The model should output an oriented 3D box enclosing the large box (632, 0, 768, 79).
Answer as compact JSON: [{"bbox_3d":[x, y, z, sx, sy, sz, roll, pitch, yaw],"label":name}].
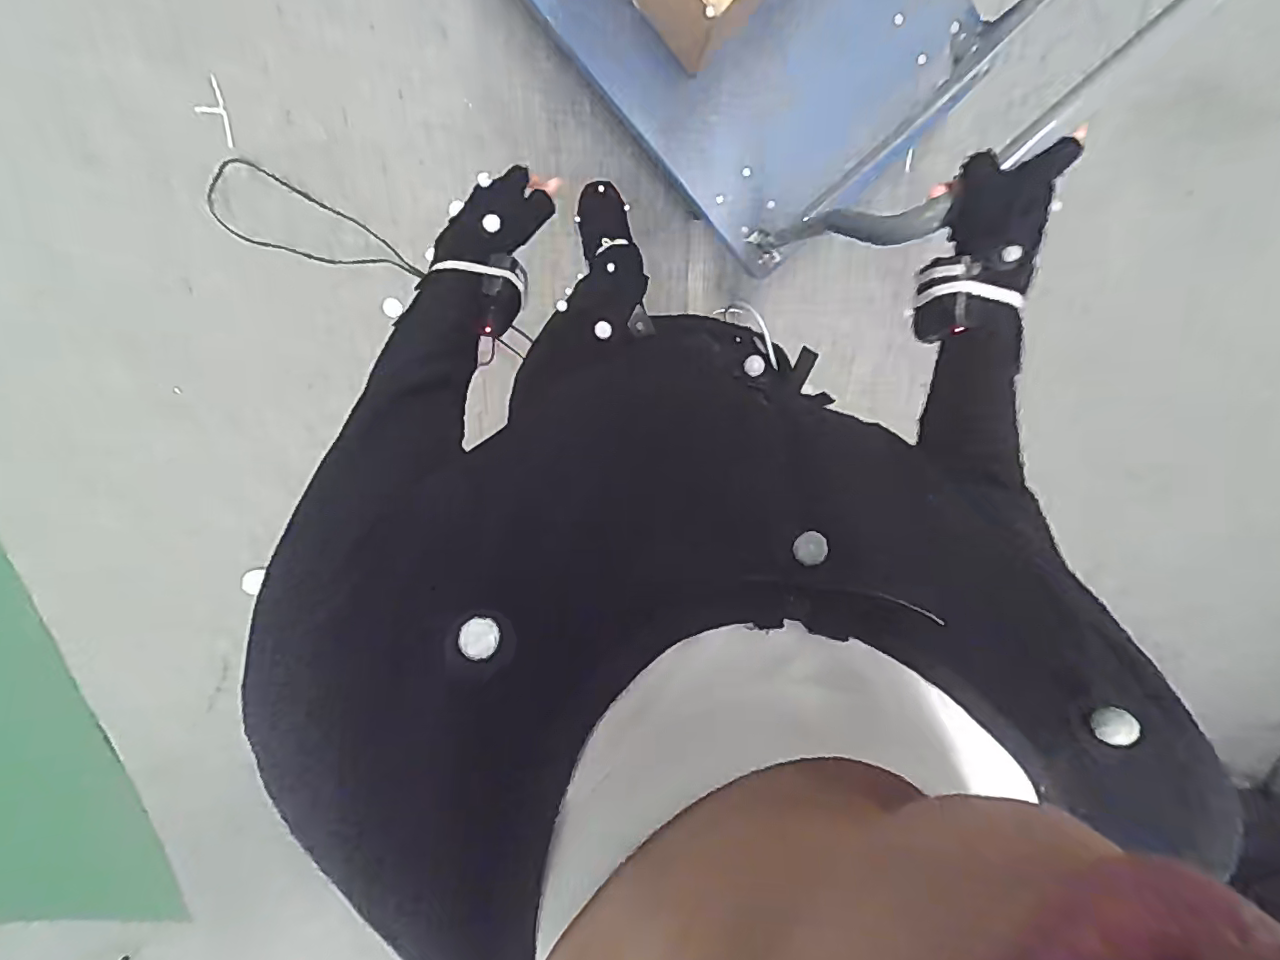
[{"bbox_3d":[0.139,-0.914,0.784,0.320,0.320,0.408,42,108,-15],"label":"large box"}]
